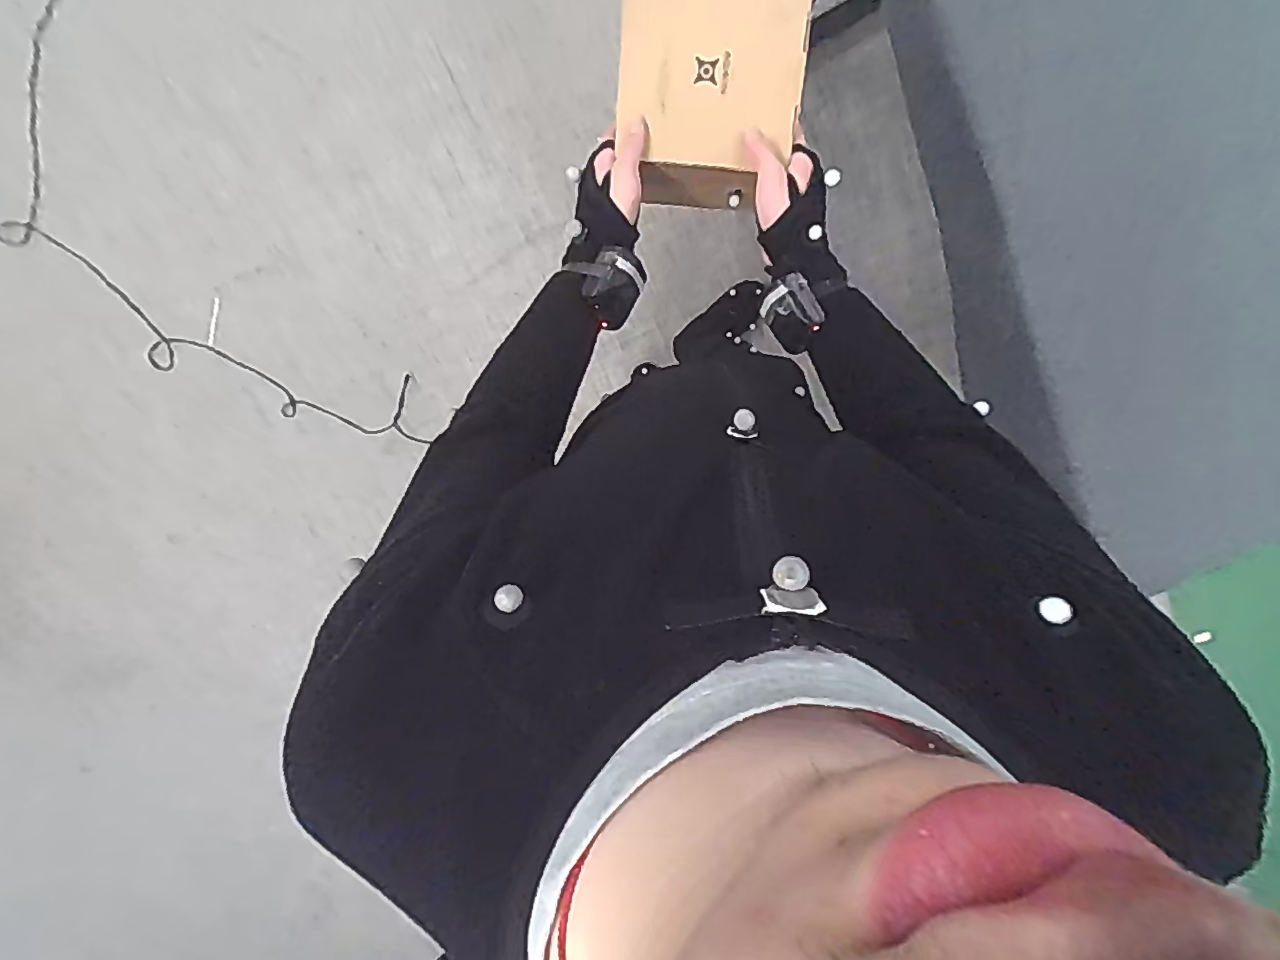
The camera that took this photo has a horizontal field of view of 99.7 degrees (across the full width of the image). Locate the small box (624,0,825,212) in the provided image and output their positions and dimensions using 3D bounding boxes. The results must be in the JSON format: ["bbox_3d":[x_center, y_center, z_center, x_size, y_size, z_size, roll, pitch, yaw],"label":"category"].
[{"bbox_3d":[0.077,-0.396,0.572,0.179,0.176,0.168,3,102,1],"label":"small box"}]
